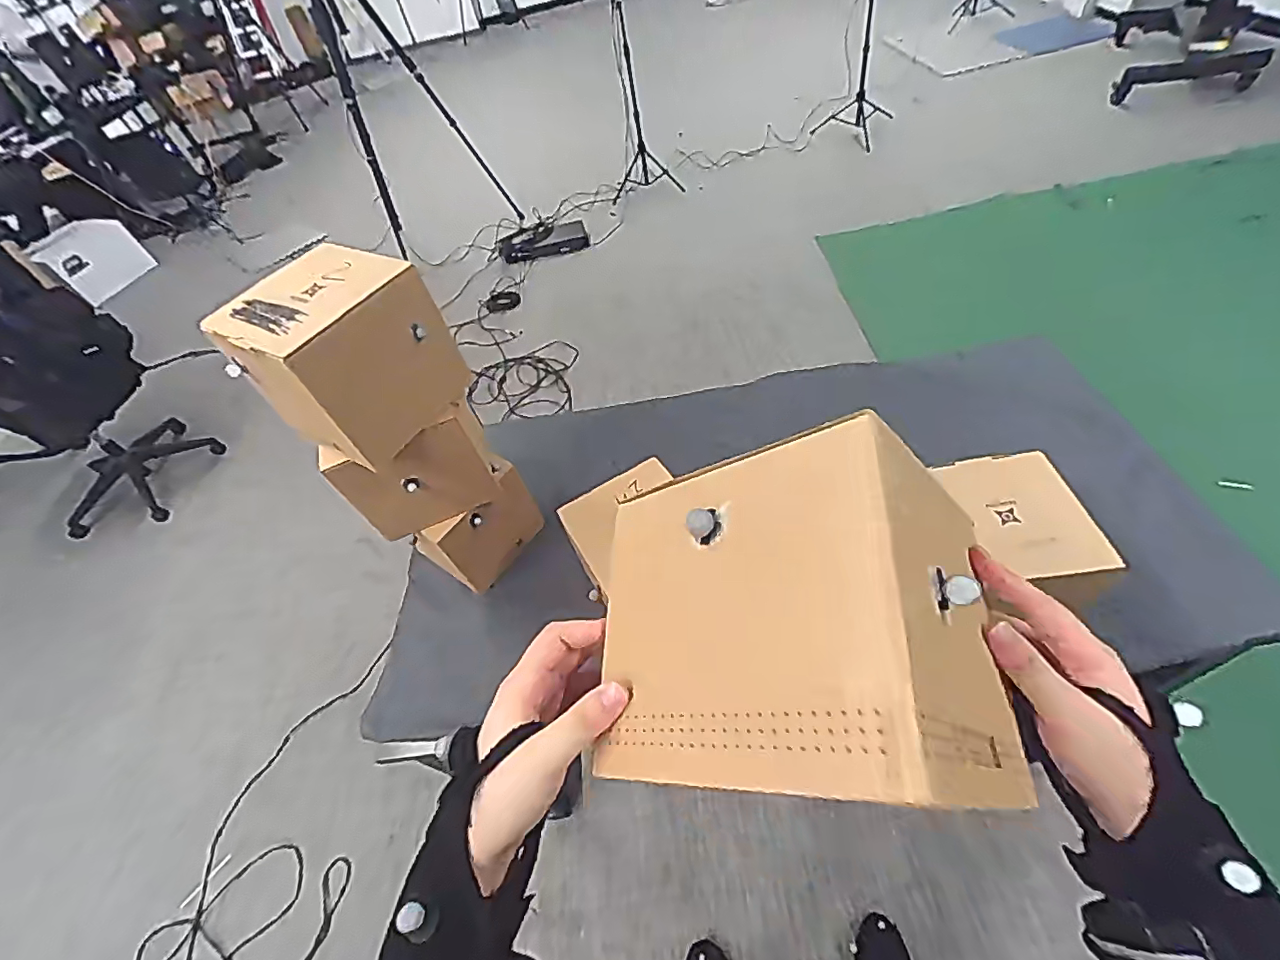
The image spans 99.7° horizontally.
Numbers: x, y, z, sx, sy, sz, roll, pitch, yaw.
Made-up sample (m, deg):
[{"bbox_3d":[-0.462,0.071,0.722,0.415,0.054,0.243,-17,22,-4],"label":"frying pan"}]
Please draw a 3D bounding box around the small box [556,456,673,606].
[{"bbox_3d":[0.006,0.105,0.784,0.168,0.176,0.179,-29,51,-11],"label":"small box"}]

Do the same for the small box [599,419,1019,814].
[{"bbox_3d":[0.094,0.093,0.322,0.179,0.168,0.176,-20,56,39],"label":"small box"}]

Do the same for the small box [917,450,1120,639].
[{"bbox_3d":[0.442,0.089,0.697,0.168,0.176,0.179,-10,50,7],"label":"small box"}]

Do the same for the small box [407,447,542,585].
[{"bbox_3d":[-0.295,0.047,0.901,0.179,0.176,0.168,25,61,28],"label":"small box"}]

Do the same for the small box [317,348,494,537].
[{"bbox_3d":[-0.324,-0.051,0.771,0.179,0.176,0.168,-24,52,-6],"label":"small box"}]
